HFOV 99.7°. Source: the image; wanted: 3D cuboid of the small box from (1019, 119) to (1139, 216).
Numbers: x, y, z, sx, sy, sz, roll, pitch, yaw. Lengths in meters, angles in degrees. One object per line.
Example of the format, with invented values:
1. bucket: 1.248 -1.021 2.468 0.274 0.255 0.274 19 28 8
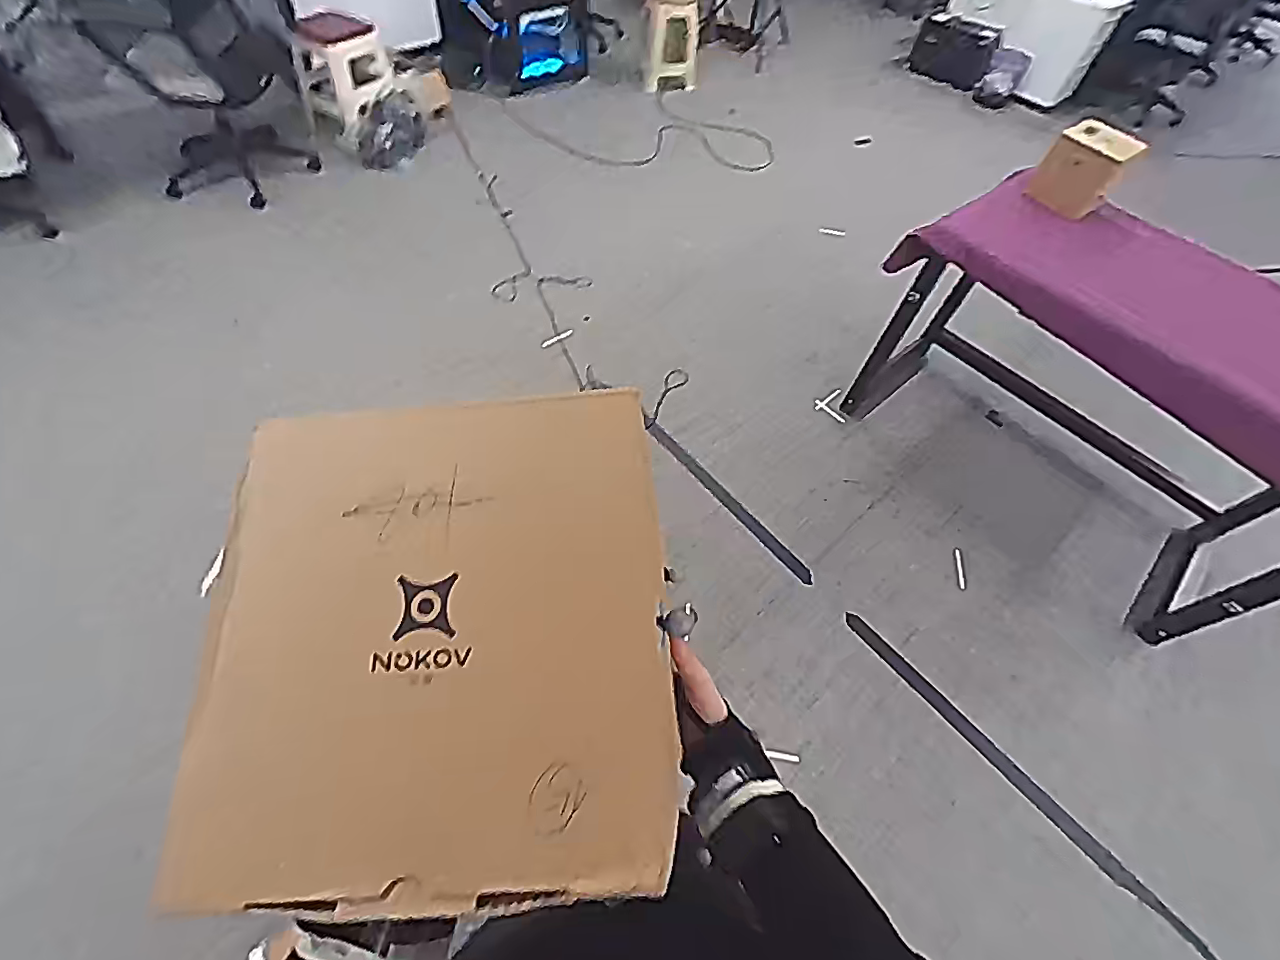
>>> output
1. small box: 1.240 -0.889 1.543 0.168 0.176 0.179 -33 66 -23

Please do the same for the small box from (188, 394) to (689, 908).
1. small box: -0.063 0.079 0.274 0.168 0.176 0.179 -5 69 3
